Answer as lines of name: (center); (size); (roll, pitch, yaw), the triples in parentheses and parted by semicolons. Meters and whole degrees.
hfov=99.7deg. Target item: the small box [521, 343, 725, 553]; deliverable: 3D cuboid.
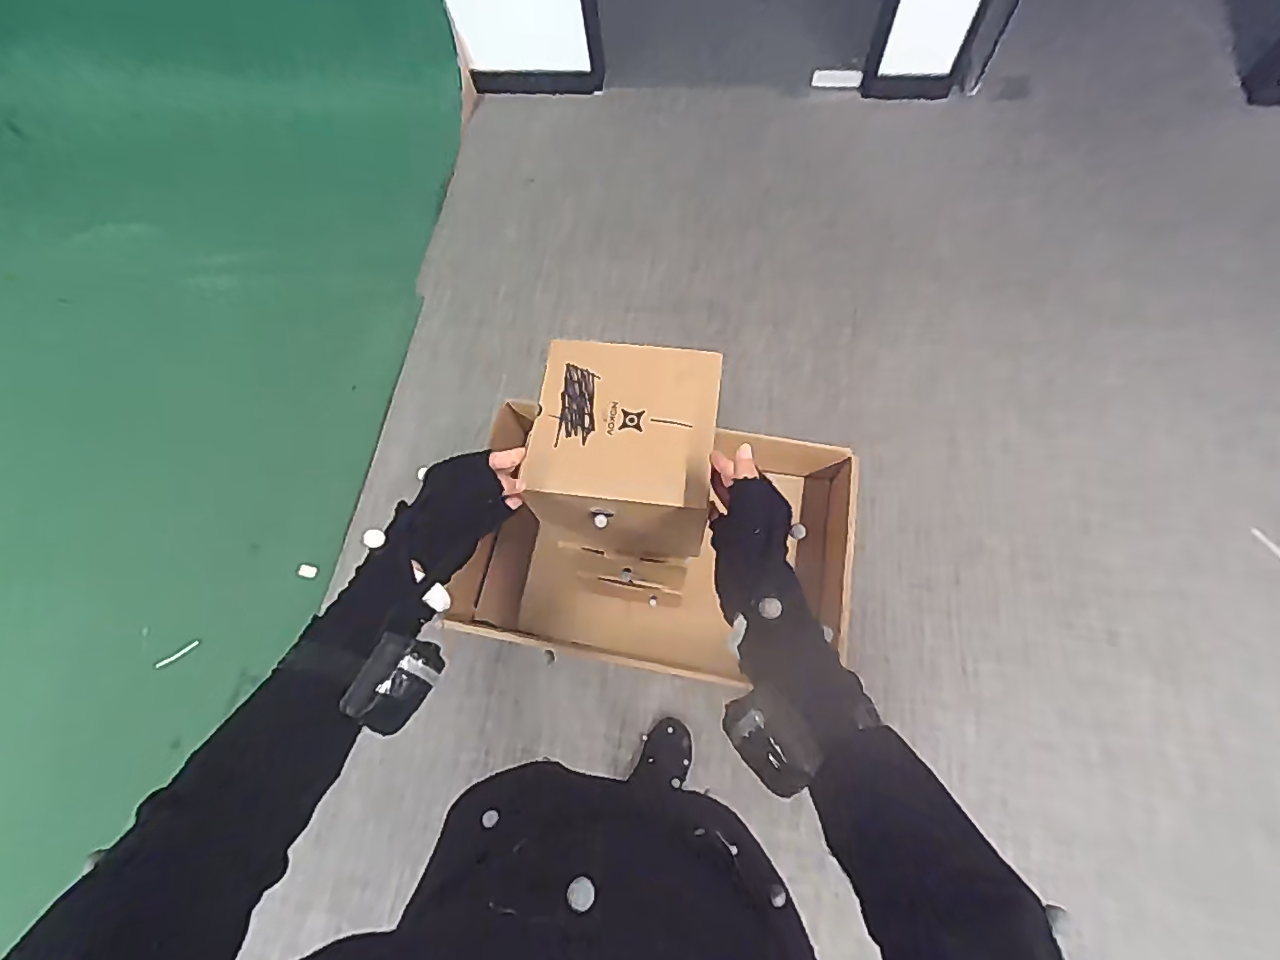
small box: (-0.008, -0.026, 0.587); (0.179, 0.176, 0.168); (6, 68, 6)

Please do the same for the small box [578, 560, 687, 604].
small box: (0.005, 0.102, 0.908); (0.168, 0.176, 0.179); (9, 69, 6)

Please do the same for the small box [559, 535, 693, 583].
small box: (0.000, 0.038, 0.756); (0.168, 0.176, 0.179); (9, 72, 6)
